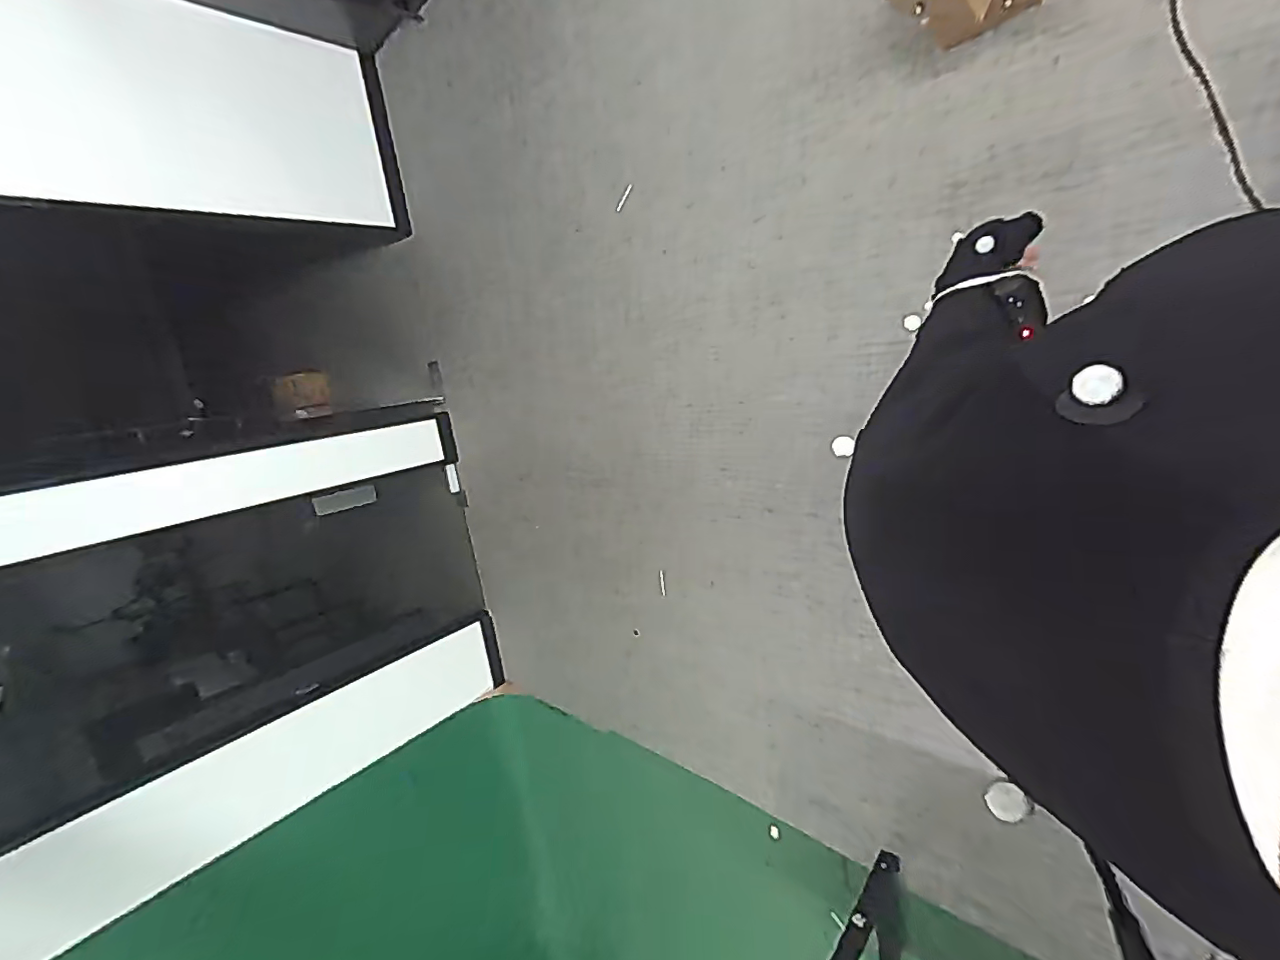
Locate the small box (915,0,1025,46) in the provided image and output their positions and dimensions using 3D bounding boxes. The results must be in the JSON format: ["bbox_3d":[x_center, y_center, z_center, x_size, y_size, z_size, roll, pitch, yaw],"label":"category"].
[{"bbox_3d":[0.633,-0.980,1.027,0.179,0.176,0.168,-2,102,45],"label":"small box"}]

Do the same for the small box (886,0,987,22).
[{"bbox_3d":[0.531,-0.928,0.931,0.168,0.176,0.179,37,126,29],"label":"small box"}]
